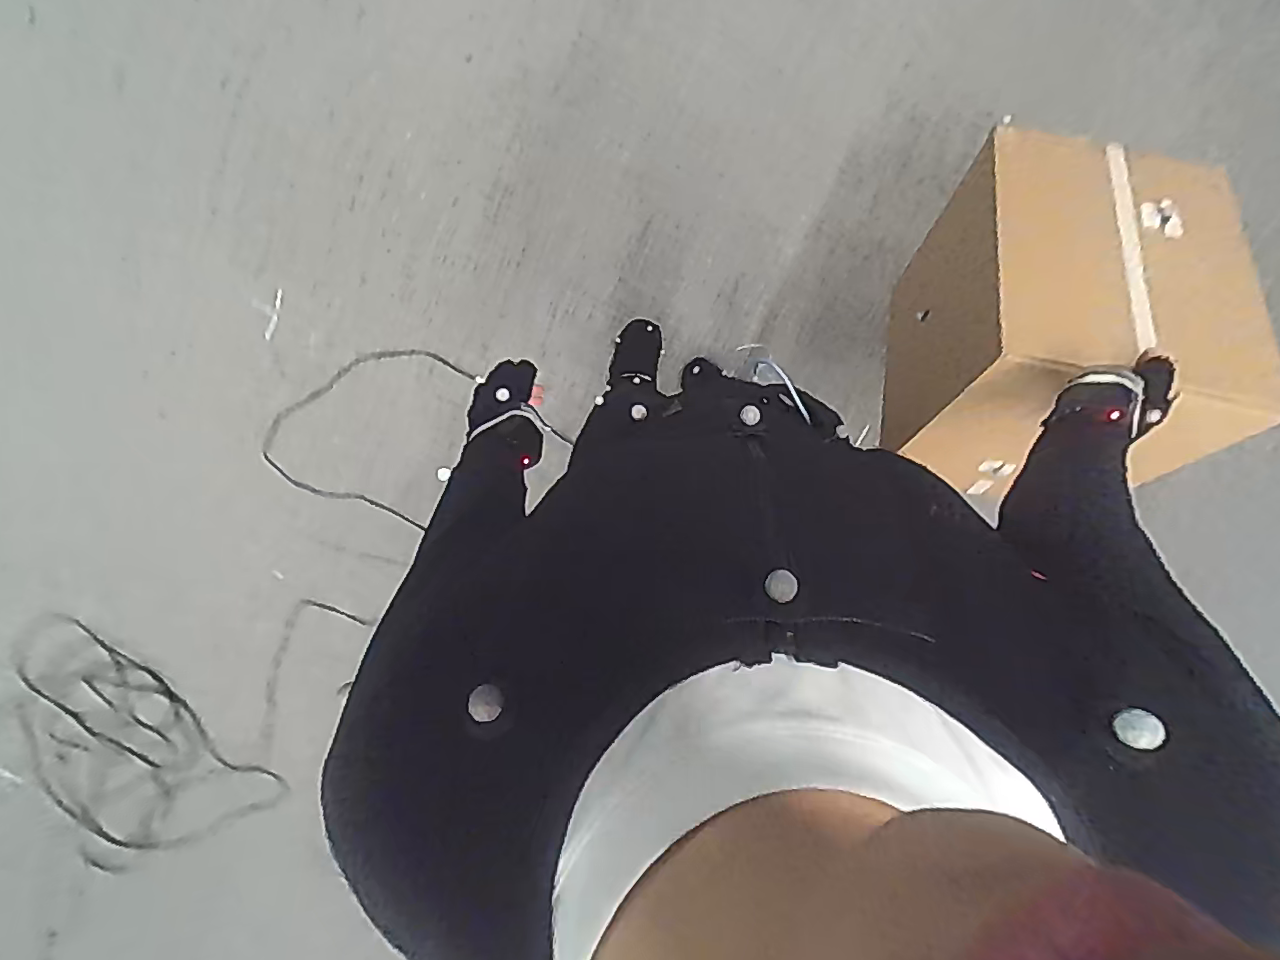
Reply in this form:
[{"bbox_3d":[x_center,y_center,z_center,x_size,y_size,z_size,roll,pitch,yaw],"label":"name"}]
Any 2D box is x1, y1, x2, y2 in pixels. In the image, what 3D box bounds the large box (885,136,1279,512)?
[{"bbox_3d":[0.591,-0.212,0.805,0.320,0.320,0.408,15,66,3],"label":"large box"}]
